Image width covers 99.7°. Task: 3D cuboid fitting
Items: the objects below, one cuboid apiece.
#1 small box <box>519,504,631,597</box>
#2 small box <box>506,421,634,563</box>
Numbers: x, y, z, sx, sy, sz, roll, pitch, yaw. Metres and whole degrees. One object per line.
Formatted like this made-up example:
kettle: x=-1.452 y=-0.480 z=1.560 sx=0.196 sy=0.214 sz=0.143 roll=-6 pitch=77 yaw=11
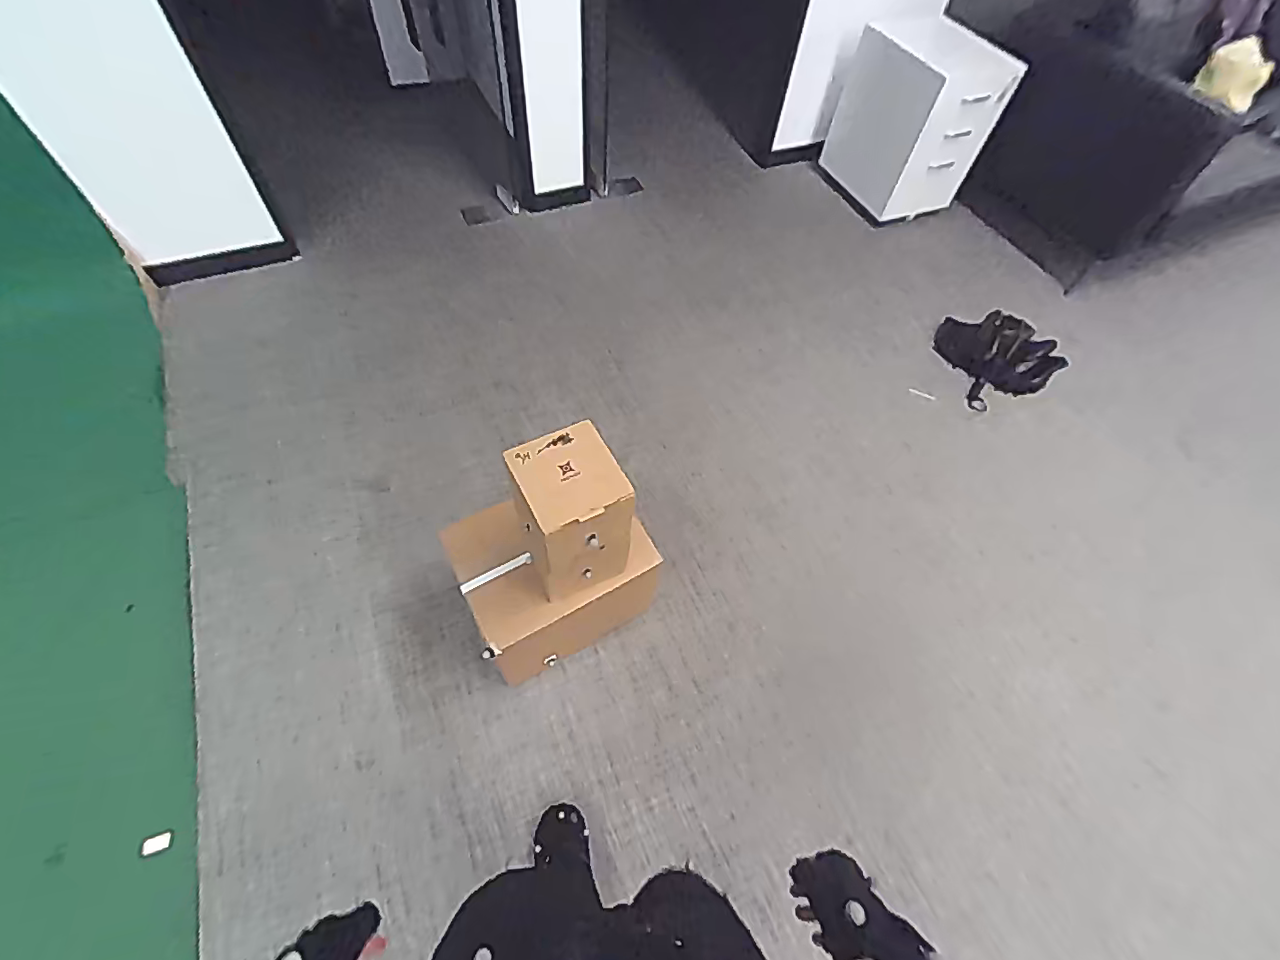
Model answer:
small box: x=-0.134 y=0.116 z=1.116 sx=0.179 sy=0.176 sz=0.168 roll=-22 pitch=63 yaw=-16
small box: x=-0.124 y=0.031 z=0.977 sx=0.168 sy=0.176 sz=0.179 roll=-24 pitch=64 yaw=-18
